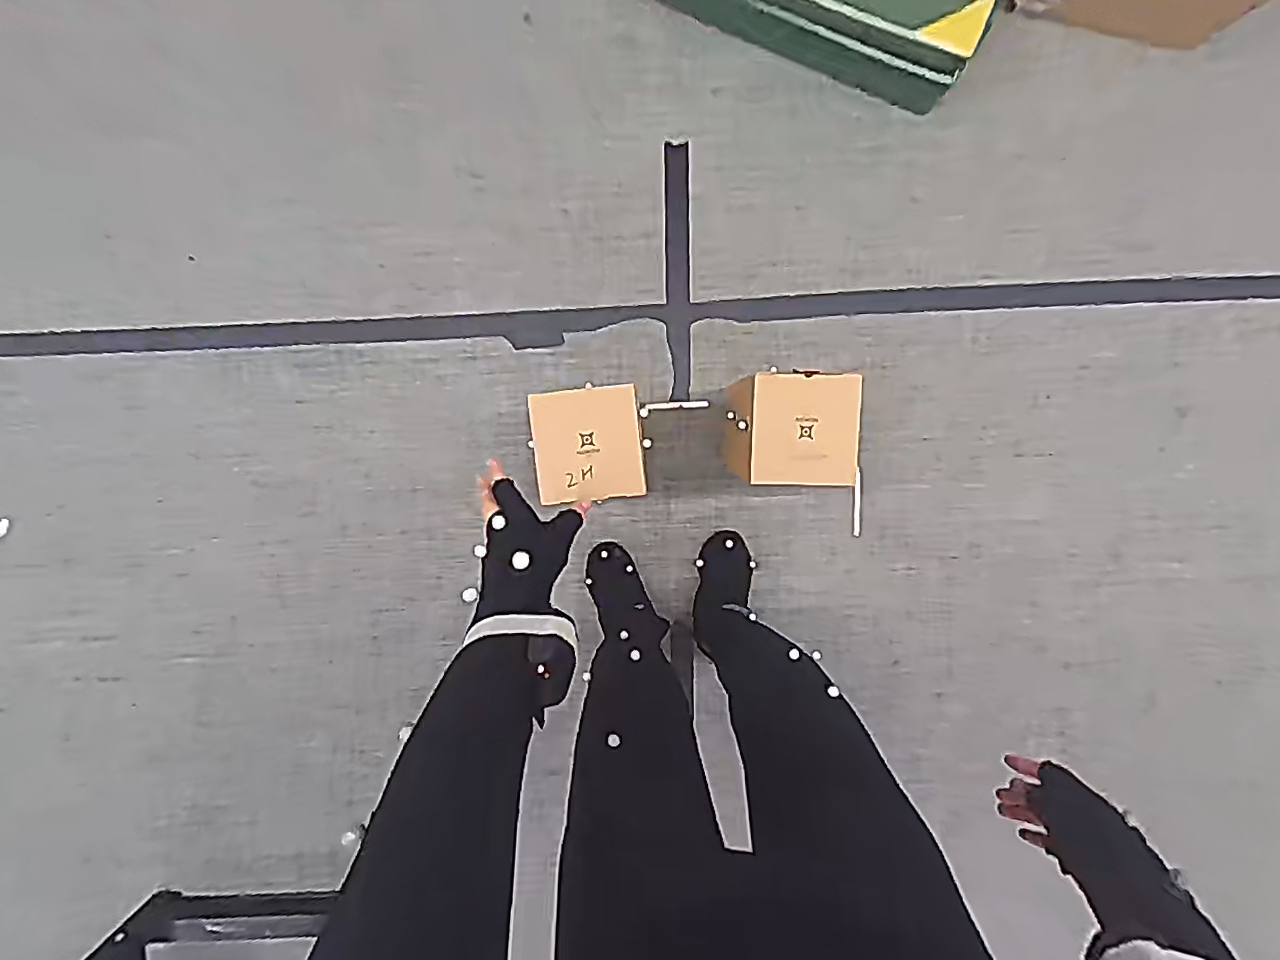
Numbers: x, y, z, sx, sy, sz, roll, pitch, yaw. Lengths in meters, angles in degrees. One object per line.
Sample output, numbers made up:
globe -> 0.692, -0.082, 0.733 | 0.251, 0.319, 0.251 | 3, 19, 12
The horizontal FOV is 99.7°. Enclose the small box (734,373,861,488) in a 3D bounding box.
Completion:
small box -> 0.256, -0.083, 0.917 | 0.168, 0.176, 0.179 | 2, 96, 1

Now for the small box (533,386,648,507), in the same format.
small box -> -0.078, -0.057, 0.915 | 0.168, 0.176, 0.179 | -6, 95, 1

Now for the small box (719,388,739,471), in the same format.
small box -> 0.264, -0.102, 1.079 | 0.179, 0.176, 0.168 | 2, 94, -2
